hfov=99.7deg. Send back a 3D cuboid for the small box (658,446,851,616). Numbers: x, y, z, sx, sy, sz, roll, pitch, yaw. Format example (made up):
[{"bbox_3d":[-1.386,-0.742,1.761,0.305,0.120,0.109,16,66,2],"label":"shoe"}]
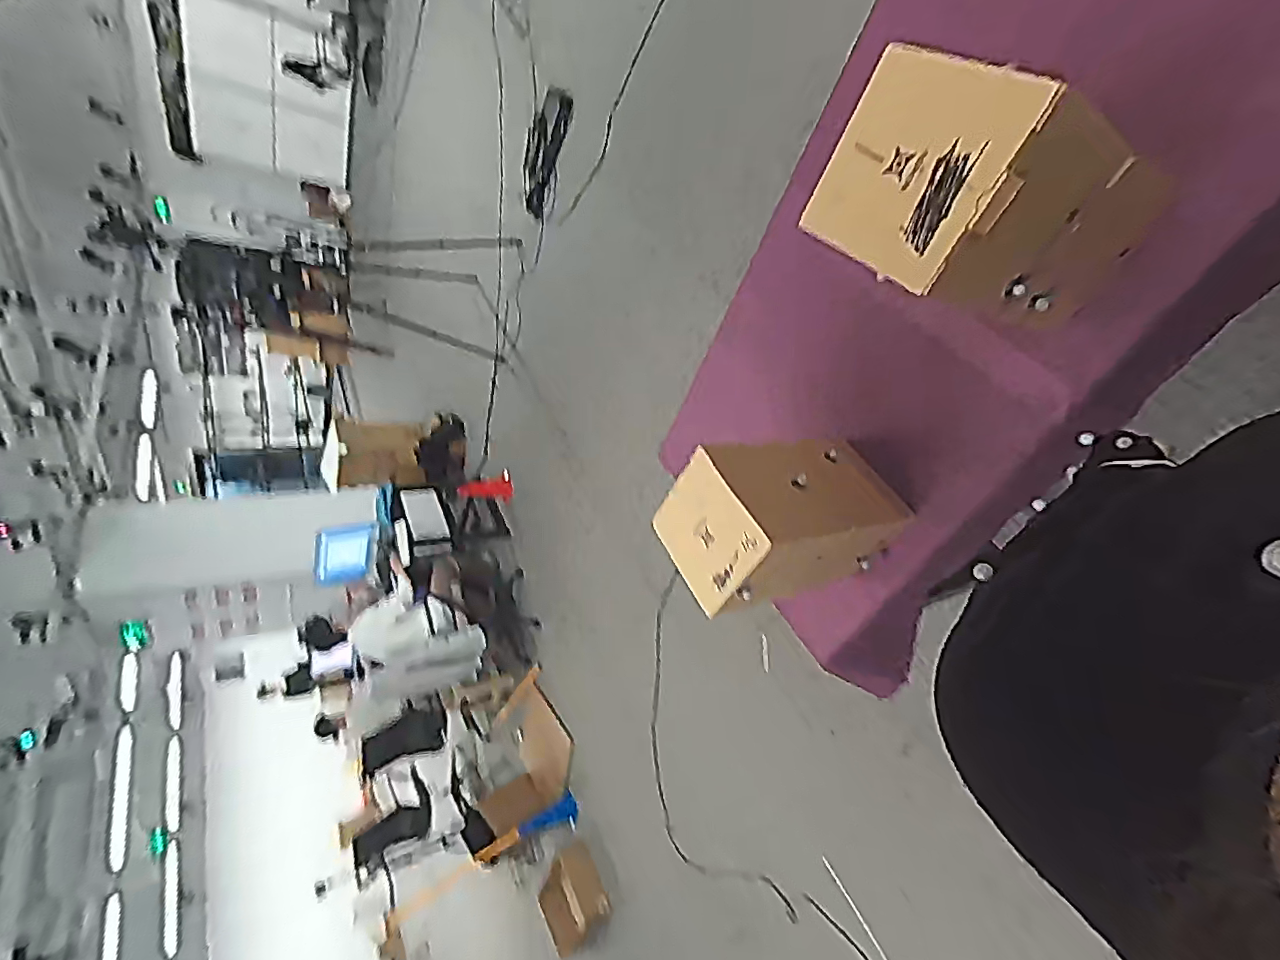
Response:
[{"bbox_3d":[0.159,0.069,0.781,0.179,0.176,0.168,60,138,34],"label":"small box"}]

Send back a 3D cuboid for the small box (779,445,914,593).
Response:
[{"bbox_3d":[0.294,0.060,0.877,0.179,0.176,0.168,58,136,32],"label":"small box"}]

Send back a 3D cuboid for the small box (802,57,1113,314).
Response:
[{"bbox_3d":[0.310,-0.282,0.542,0.179,0.176,0.168,55,134,38],"label":"small box"}]
